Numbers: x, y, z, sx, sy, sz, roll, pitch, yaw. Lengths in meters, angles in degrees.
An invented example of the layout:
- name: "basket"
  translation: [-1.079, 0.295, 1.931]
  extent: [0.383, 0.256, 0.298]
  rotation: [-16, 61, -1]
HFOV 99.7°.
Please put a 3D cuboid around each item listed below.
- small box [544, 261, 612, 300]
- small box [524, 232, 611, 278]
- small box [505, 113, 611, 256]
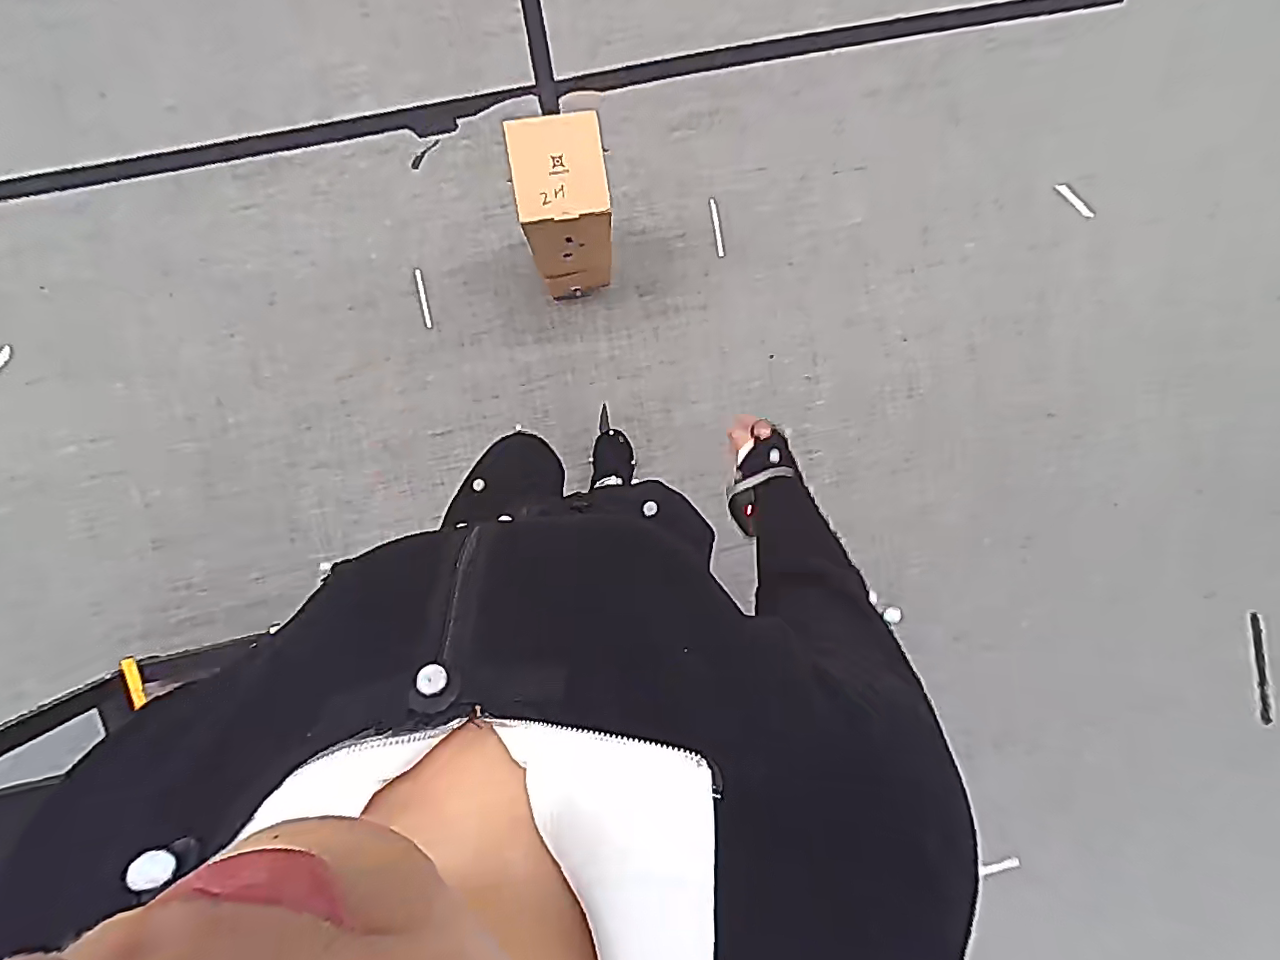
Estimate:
- name: "small box"
  translation: [-0.172, -0.571, 1.350]
  extent: [0.168, 0.176, 0.179]
  rotation: [-16, 97, -2]
- name: "small box"
  translation: [-0.162, -0.559, 1.187]
  extent: [0.179, 0.176, 0.168]
  rotation: [-12, 96, -3]
- name: "small box"
  translation: [-0.148, -0.548, 1.023]
  extent: [0.168, 0.176, 0.179]
  rotation: [-9, 96, -2]
